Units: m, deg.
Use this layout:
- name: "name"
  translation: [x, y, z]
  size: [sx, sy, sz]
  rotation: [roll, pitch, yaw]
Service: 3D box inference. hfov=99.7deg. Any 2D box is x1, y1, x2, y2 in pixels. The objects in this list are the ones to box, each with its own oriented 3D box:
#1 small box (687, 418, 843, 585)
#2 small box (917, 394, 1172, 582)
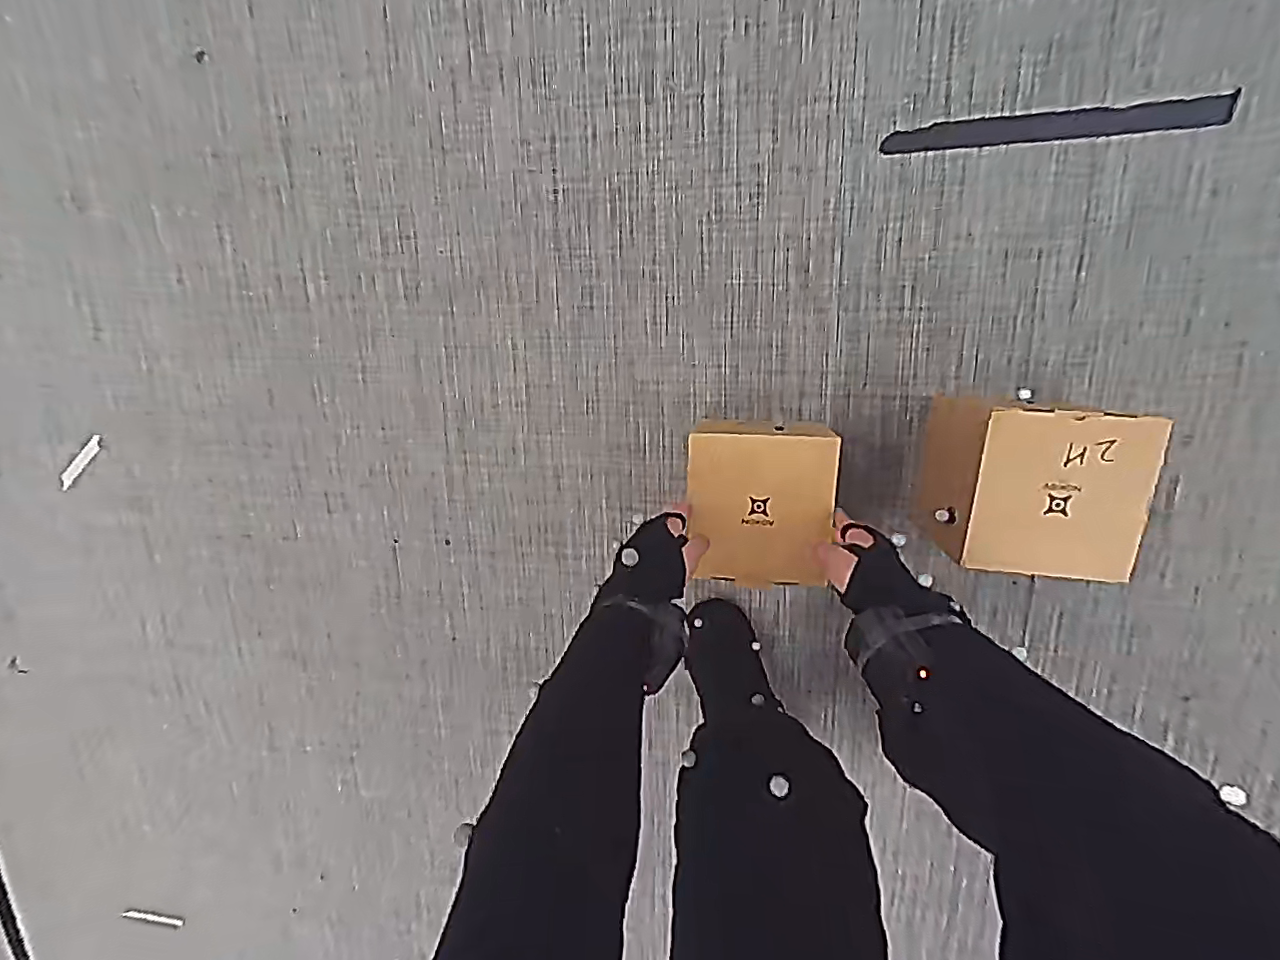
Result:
- name: "small box"
  translation: [0.149, 0.016, 0.685]
  size: [0.168, 0.176, 0.179]
  rotation: [2, 103, 9]
- name: "small box"
  translation: [0.442, -0.002, 0.629]
  size: [0.168, 0.176, 0.179]
  rotation: [5, 103, 8]
